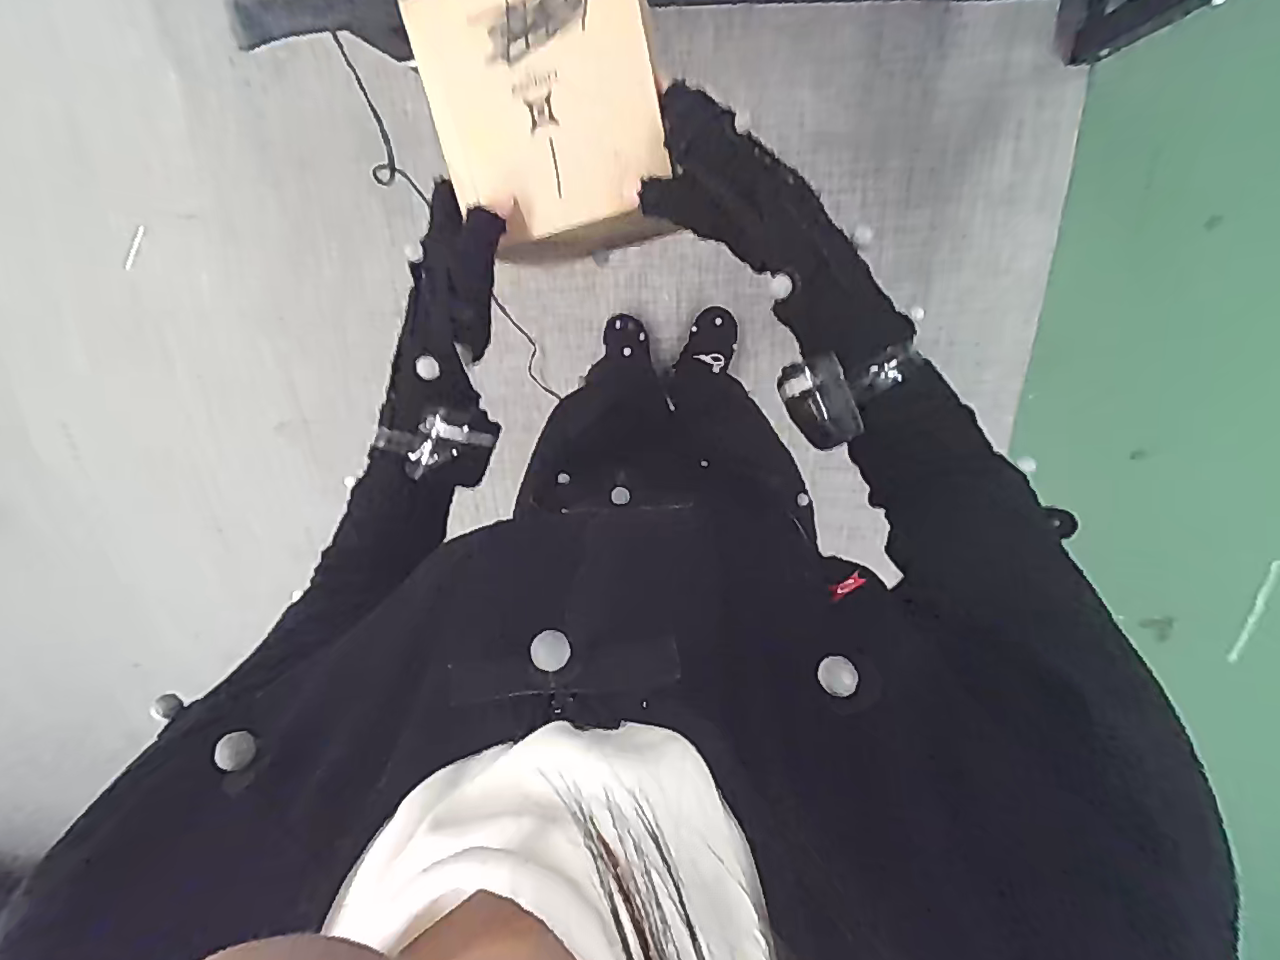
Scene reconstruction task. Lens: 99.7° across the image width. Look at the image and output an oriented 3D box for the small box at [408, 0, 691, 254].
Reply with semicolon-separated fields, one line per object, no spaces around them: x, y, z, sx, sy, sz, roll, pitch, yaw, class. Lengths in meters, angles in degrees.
-0.056;-0.304;0.451;0.168;0.176;0.179;-11;106;12;small box
